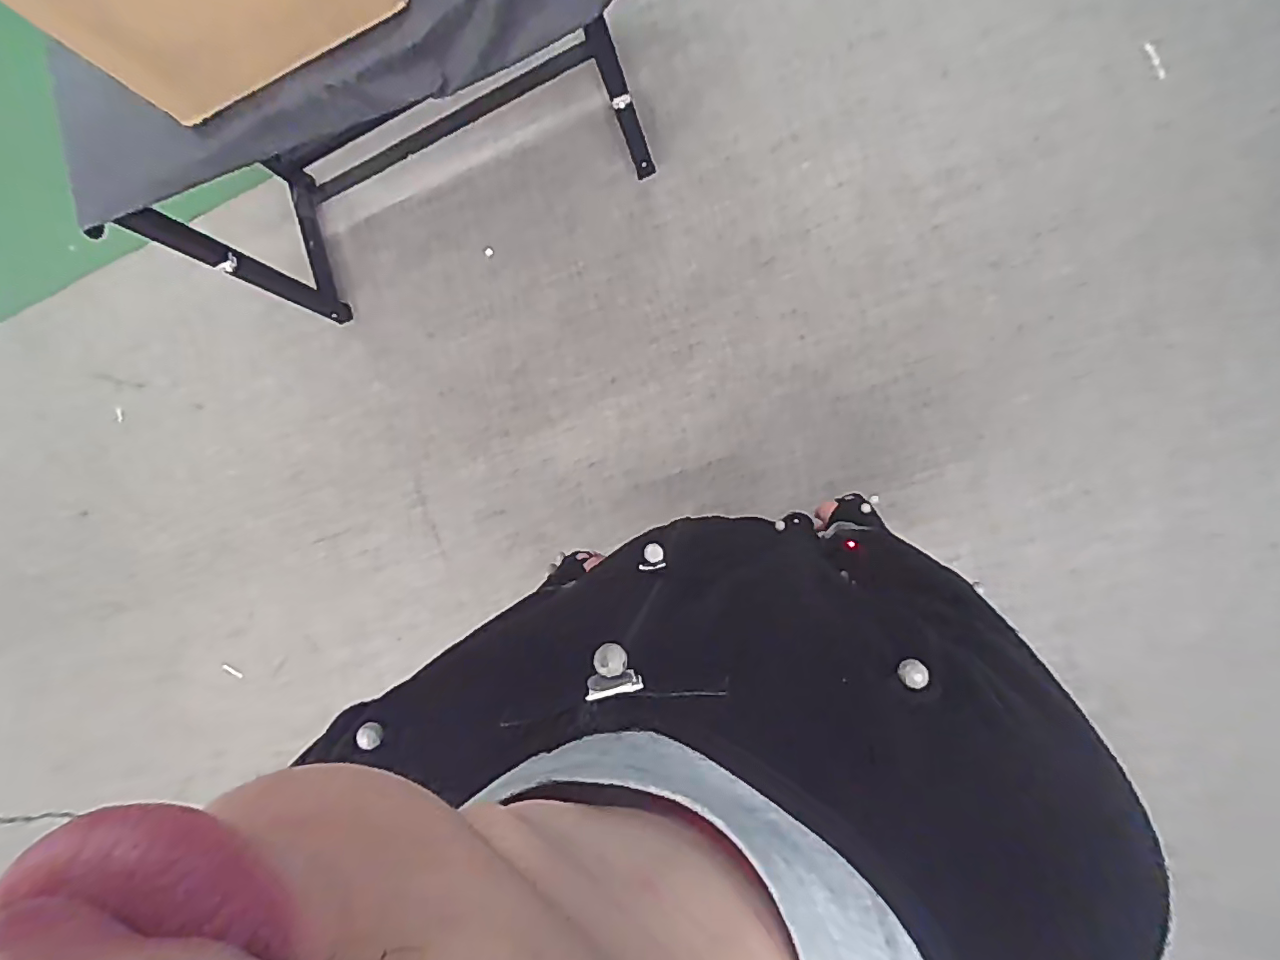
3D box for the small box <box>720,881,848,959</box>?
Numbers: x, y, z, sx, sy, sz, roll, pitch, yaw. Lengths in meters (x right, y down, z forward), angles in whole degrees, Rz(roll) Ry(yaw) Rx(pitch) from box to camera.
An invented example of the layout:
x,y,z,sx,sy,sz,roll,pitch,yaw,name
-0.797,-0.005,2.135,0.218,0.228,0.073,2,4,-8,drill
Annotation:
x,y,z,sx,sy,sz,roll,pitch,yaw,name
0.228,0.754,0.806,0.168,0.176,0.179,-22,84,10,small box
